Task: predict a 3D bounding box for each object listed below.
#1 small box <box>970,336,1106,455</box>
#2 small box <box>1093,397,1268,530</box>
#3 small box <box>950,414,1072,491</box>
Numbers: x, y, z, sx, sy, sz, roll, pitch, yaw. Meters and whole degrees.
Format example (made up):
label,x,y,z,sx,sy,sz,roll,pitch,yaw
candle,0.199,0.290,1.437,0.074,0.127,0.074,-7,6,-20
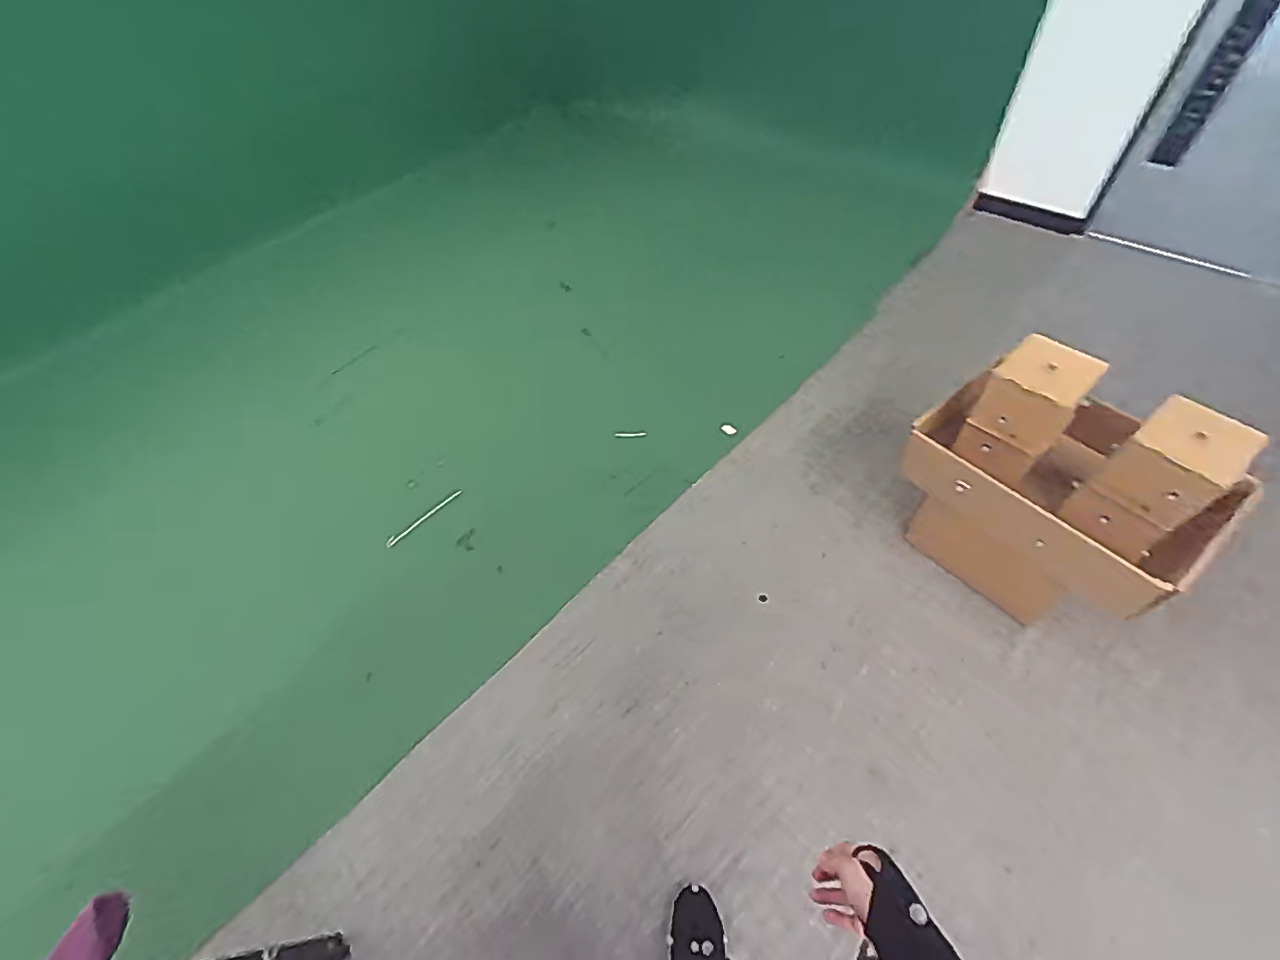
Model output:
label,x,y,z,sx,sy,sz,roll,pitch,yaw
small box,0.910,-0.193,1.255,0.179,0.176,0.168,-39,59,-18
small box,1.089,-0.029,1.109,0.179,0.176,0.168,-35,58,-18
small box,0.939,-0.104,1.387,0.168,0.176,0.179,-38,58,-18
